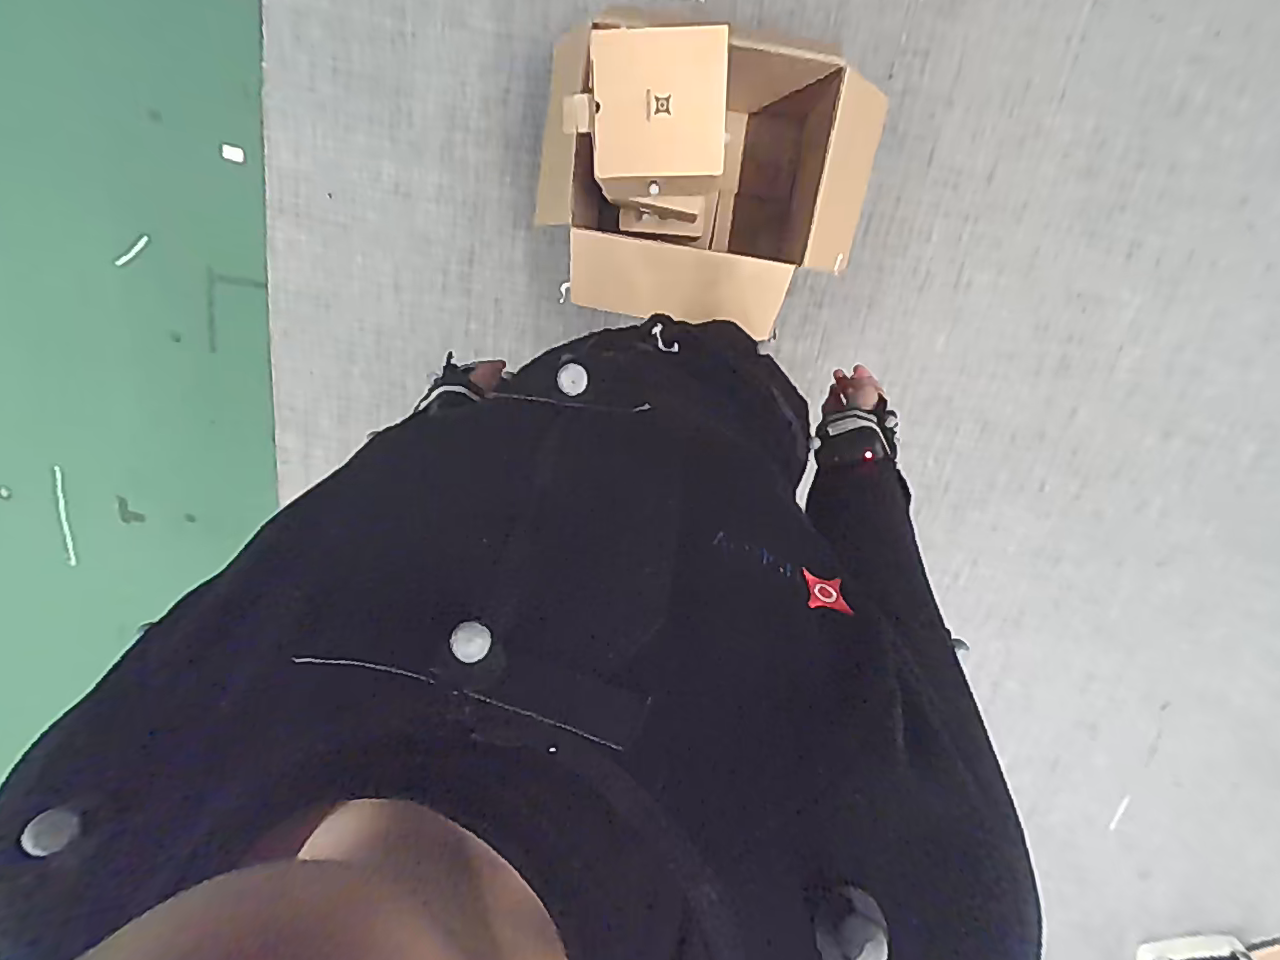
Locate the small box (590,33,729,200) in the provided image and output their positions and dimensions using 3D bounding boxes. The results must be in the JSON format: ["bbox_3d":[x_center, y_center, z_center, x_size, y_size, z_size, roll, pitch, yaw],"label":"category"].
[{"bbox_3d":[0.027,-0.506,0.773,0.179,0.176,0.168,0,110,3],"label":"small box"}]

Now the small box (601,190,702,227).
[{"bbox_3d":[0.034,-0.552,0.929,0.168,0.176,0.179,12,111,-2],"label":"small box"}]
